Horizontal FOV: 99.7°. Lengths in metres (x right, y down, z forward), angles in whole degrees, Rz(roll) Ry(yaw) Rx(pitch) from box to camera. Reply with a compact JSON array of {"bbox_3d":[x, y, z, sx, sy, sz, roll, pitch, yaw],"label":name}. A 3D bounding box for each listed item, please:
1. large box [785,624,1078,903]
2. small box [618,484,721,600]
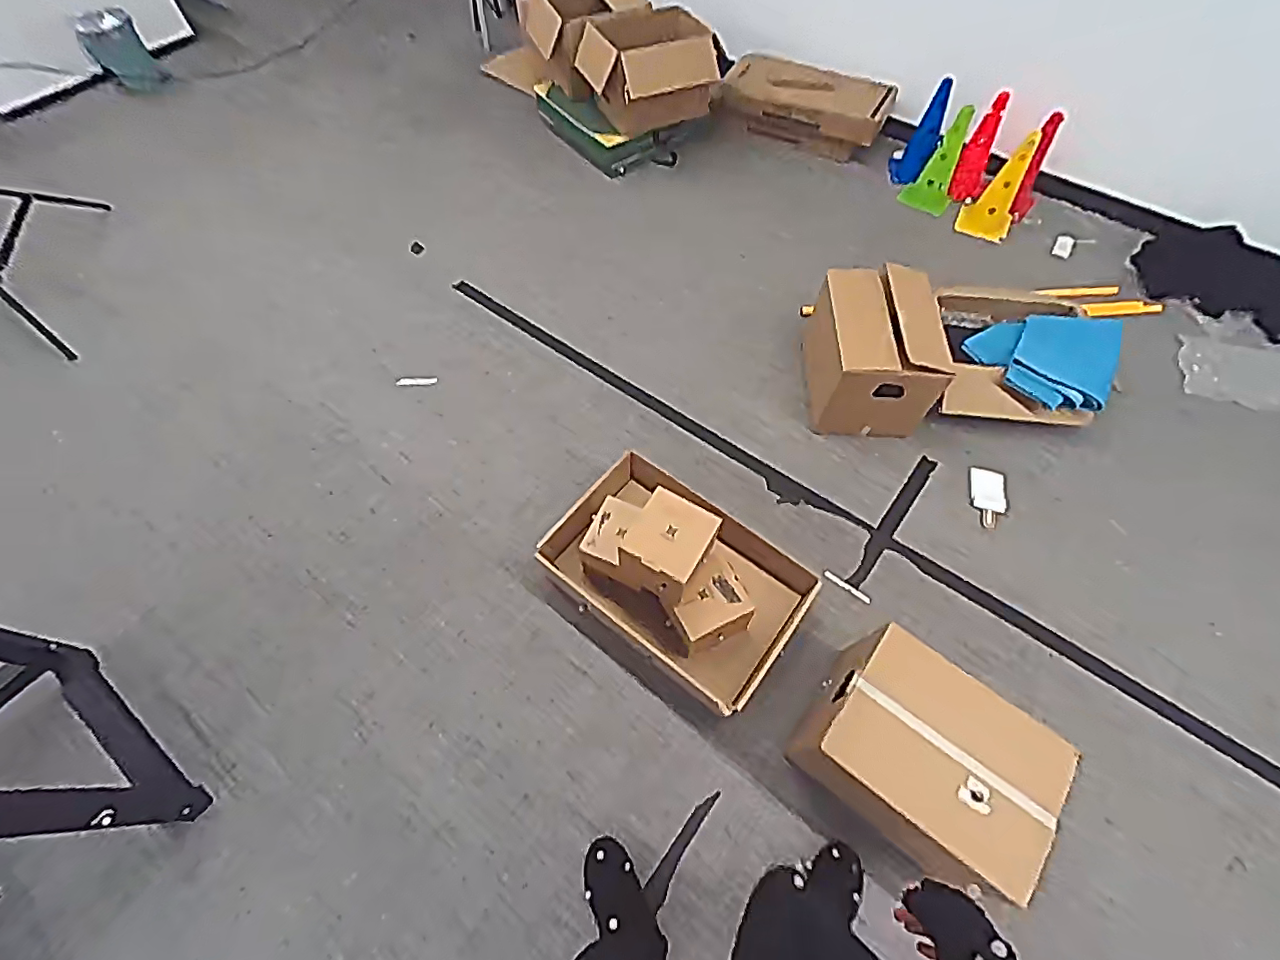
[{"bbox_3d":[0.589,0.583,1.162,0.408,0.320,0.320,35,67,17],"label":"large box"},{"bbox_3d":[0.066,0.148,1.235,0.168,0.176,0.179,28,64,13],"label":"small box"}]
